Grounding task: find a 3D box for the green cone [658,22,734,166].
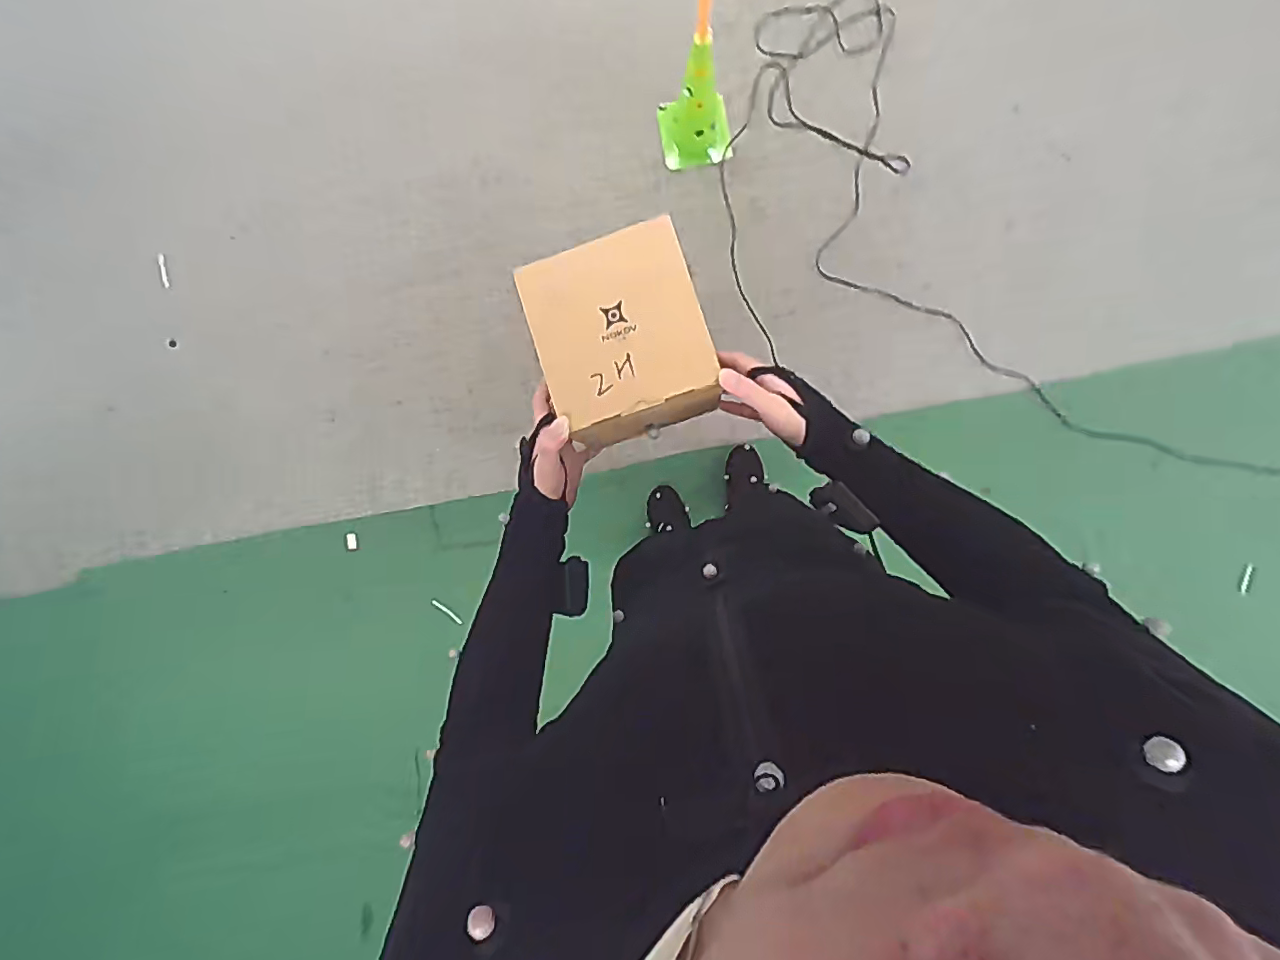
[{"bbox_3d":[0.161,-1.030,1.417,0.202,0.368,0.200,-10,91,1],"label":"green cone"}]
